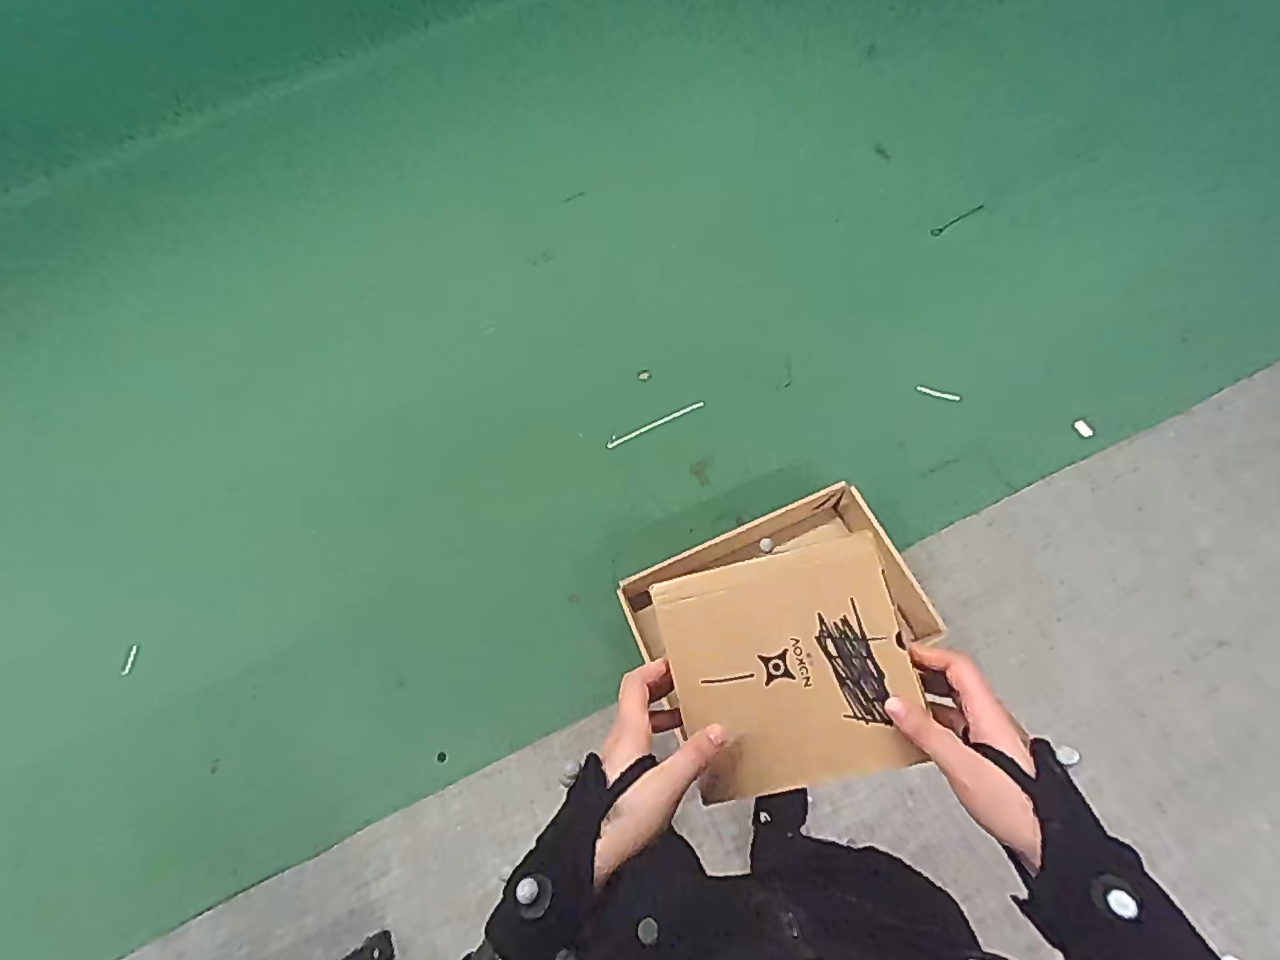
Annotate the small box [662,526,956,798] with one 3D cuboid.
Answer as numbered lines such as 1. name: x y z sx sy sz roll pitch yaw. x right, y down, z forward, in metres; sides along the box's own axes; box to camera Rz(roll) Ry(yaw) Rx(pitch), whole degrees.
1. small box: 0.128 0.141 0.469 0.179 0.176 0.168 -15 79 8
